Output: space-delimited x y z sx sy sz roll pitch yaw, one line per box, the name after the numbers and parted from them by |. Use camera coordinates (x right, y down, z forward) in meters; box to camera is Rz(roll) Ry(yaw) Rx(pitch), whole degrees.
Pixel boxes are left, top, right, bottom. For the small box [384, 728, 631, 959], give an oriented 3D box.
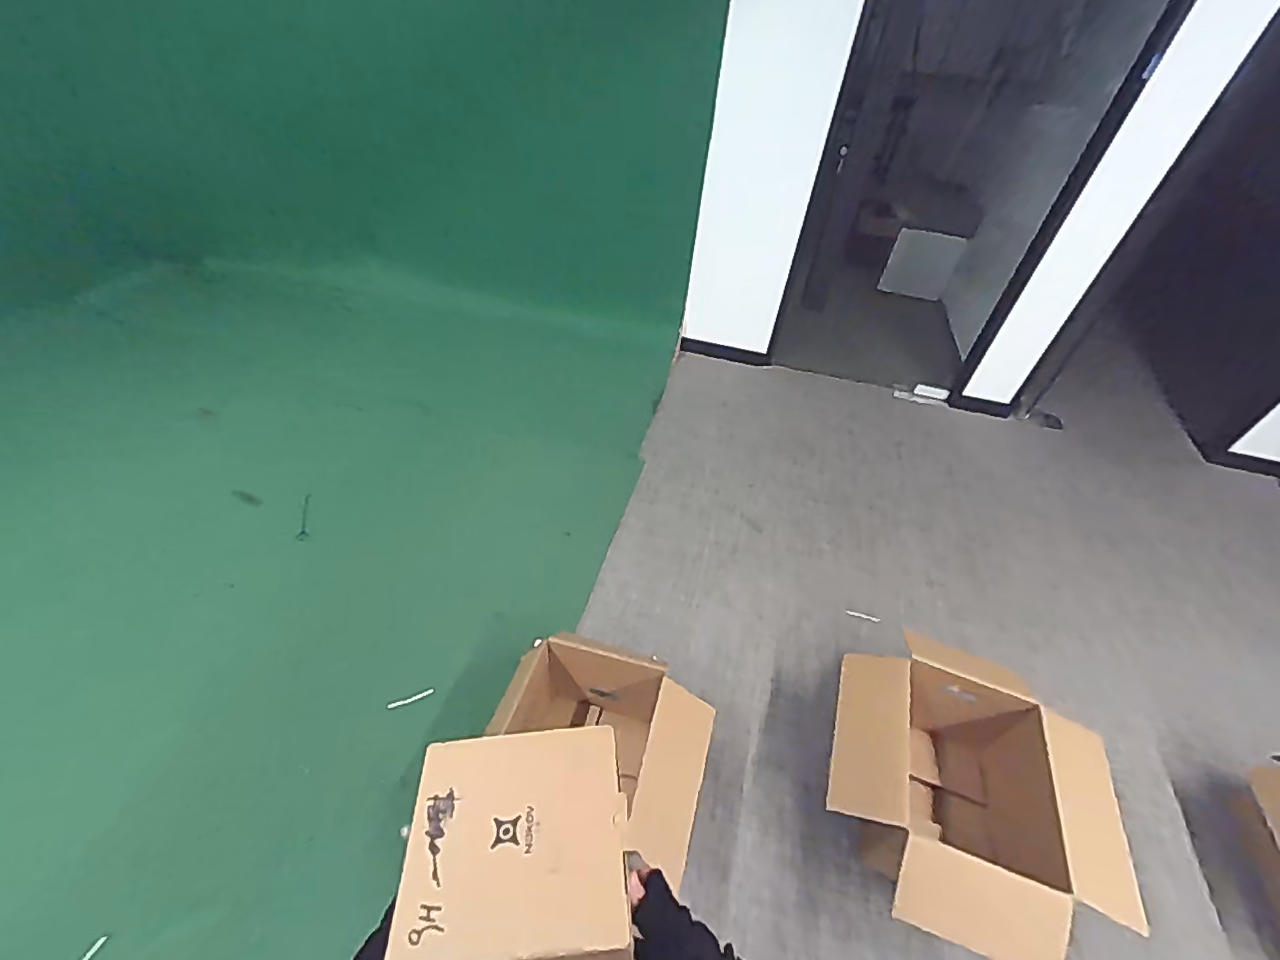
-0.103 0.352 0.497 0.179 0.176 0.168 -2 37 -5 | small box
